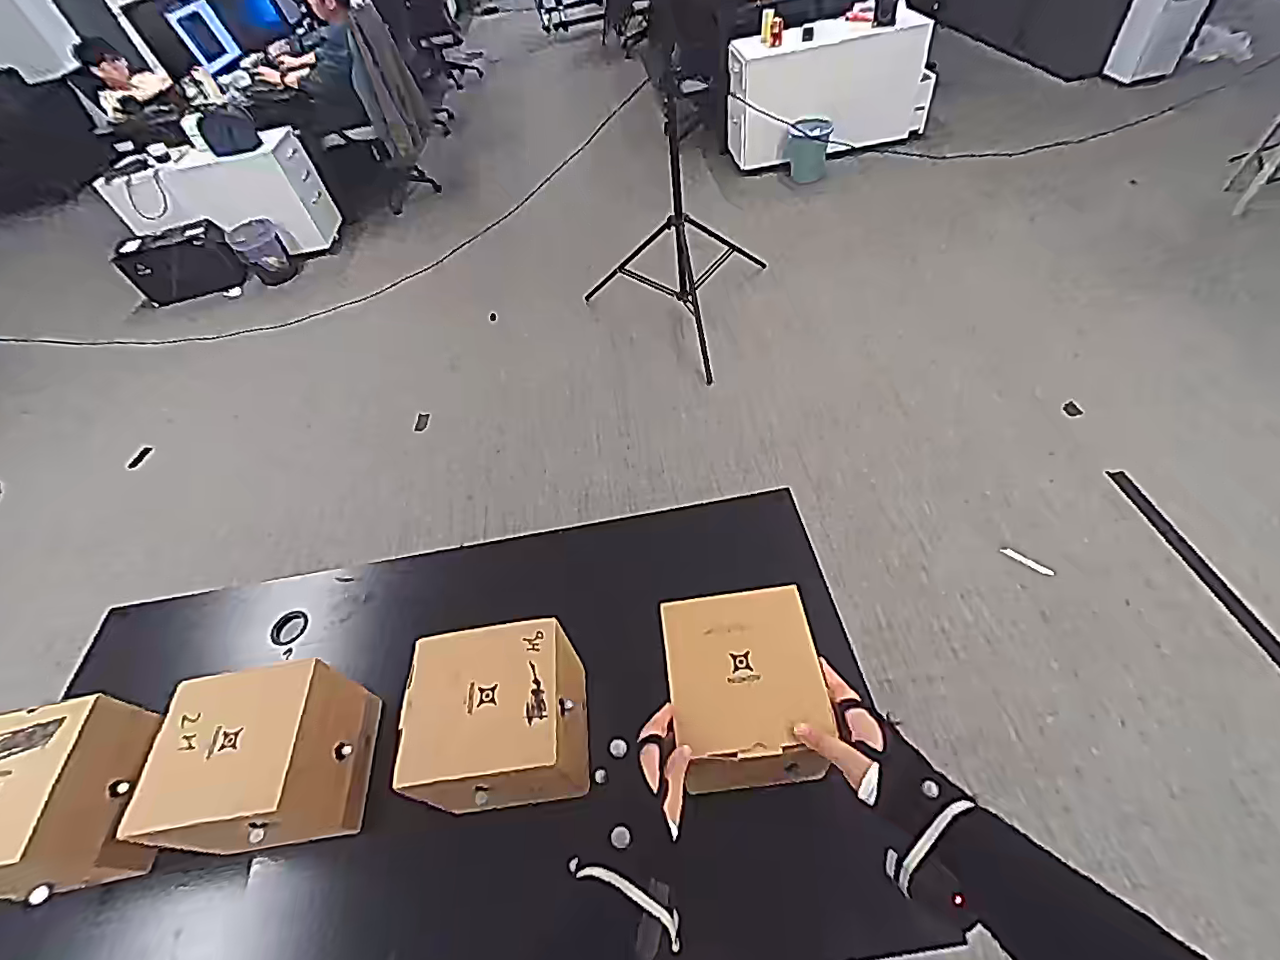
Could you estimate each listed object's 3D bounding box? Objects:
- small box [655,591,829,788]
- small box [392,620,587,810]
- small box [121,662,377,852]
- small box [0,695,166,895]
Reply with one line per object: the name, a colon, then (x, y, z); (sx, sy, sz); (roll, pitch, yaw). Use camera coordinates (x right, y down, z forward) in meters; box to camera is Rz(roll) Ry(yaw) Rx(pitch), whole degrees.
small box: (0.115, 0.260, 0.656); (0.168, 0.176, 0.179); (-8, 49, 2)
small box: (-0.171, 0.297, 0.673); (0.179, 0.176, 0.168); (-10, 50, 3)
small box: (-0.460, 0.349, 0.677); (0.179, 0.176, 0.168); (-10, 50, 0)
small box: (-0.722, 0.398, 0.680); (0.168, 0.176, 0.179); (-12, 51, 0)
